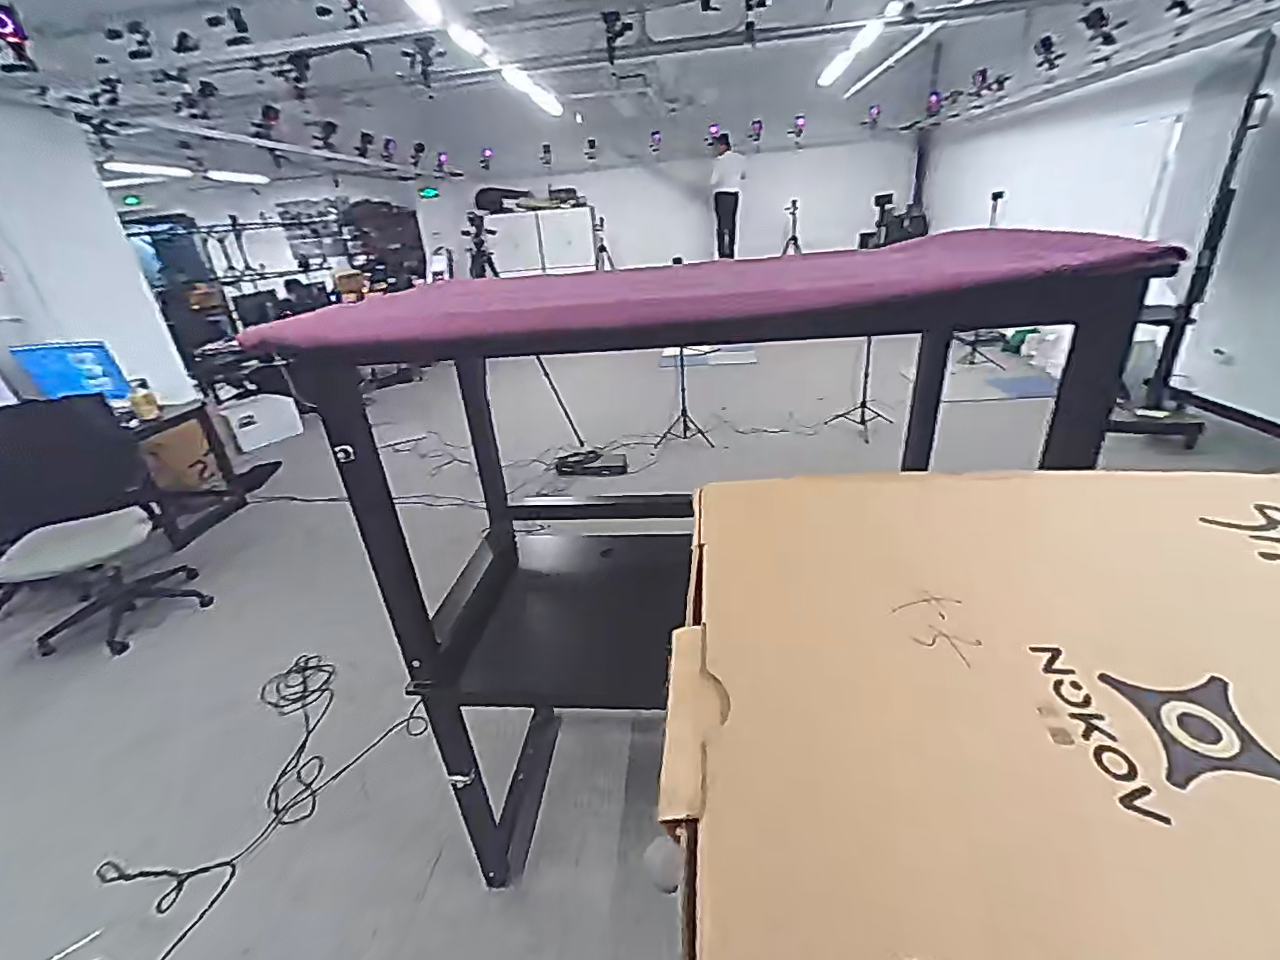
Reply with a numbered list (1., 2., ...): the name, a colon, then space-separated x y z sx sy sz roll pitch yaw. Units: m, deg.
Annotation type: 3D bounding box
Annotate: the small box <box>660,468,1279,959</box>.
1. small box: 0.102 0.113 0.157 0.179 0.176 0.168 -1 36 7
